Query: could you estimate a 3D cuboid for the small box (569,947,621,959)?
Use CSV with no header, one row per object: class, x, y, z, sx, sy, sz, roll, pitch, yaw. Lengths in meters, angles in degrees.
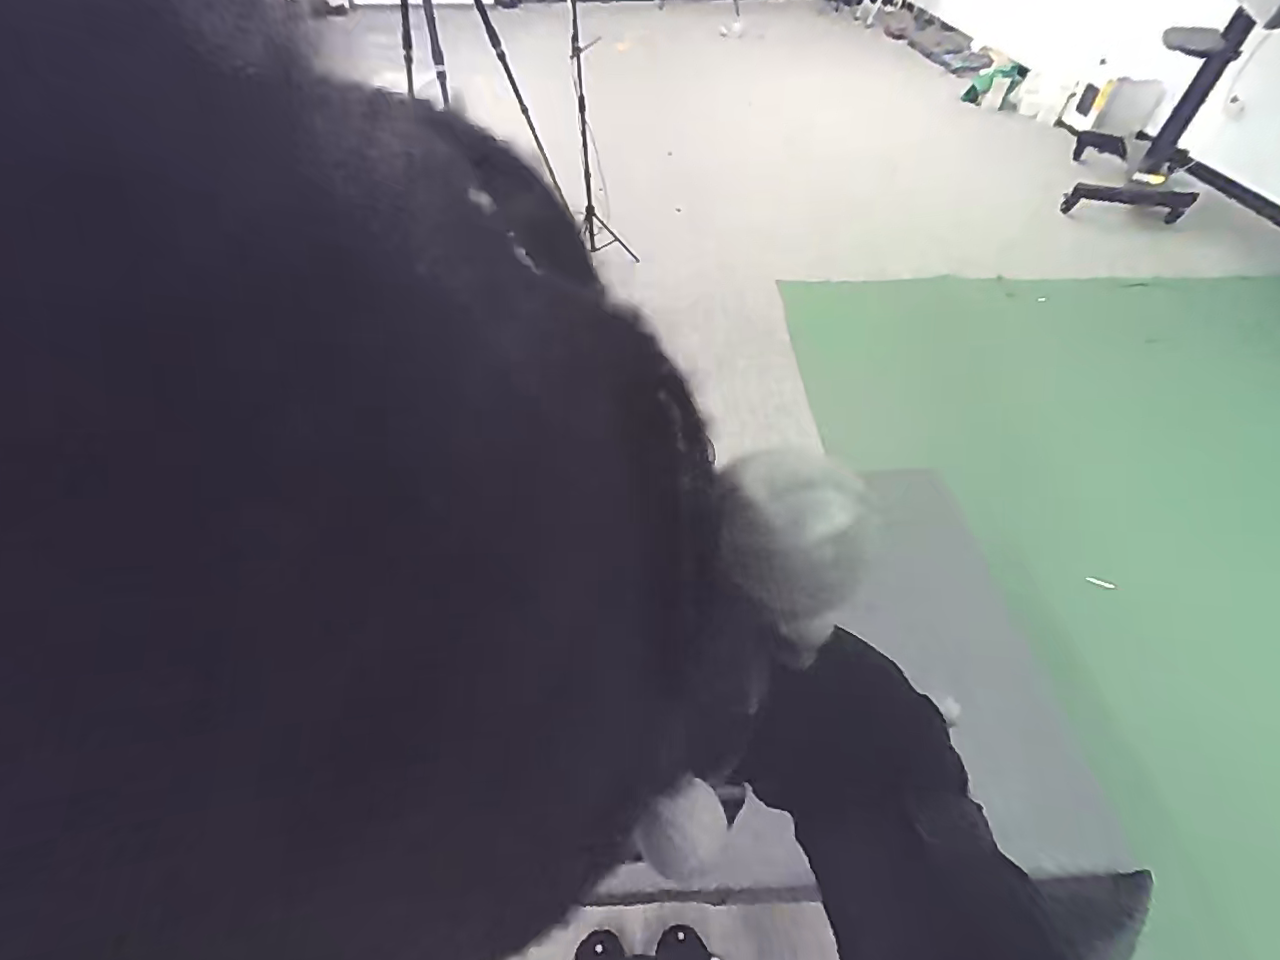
small box,-0.073,1.011,0.997,0.179,0.176,0.168,18,62,36
